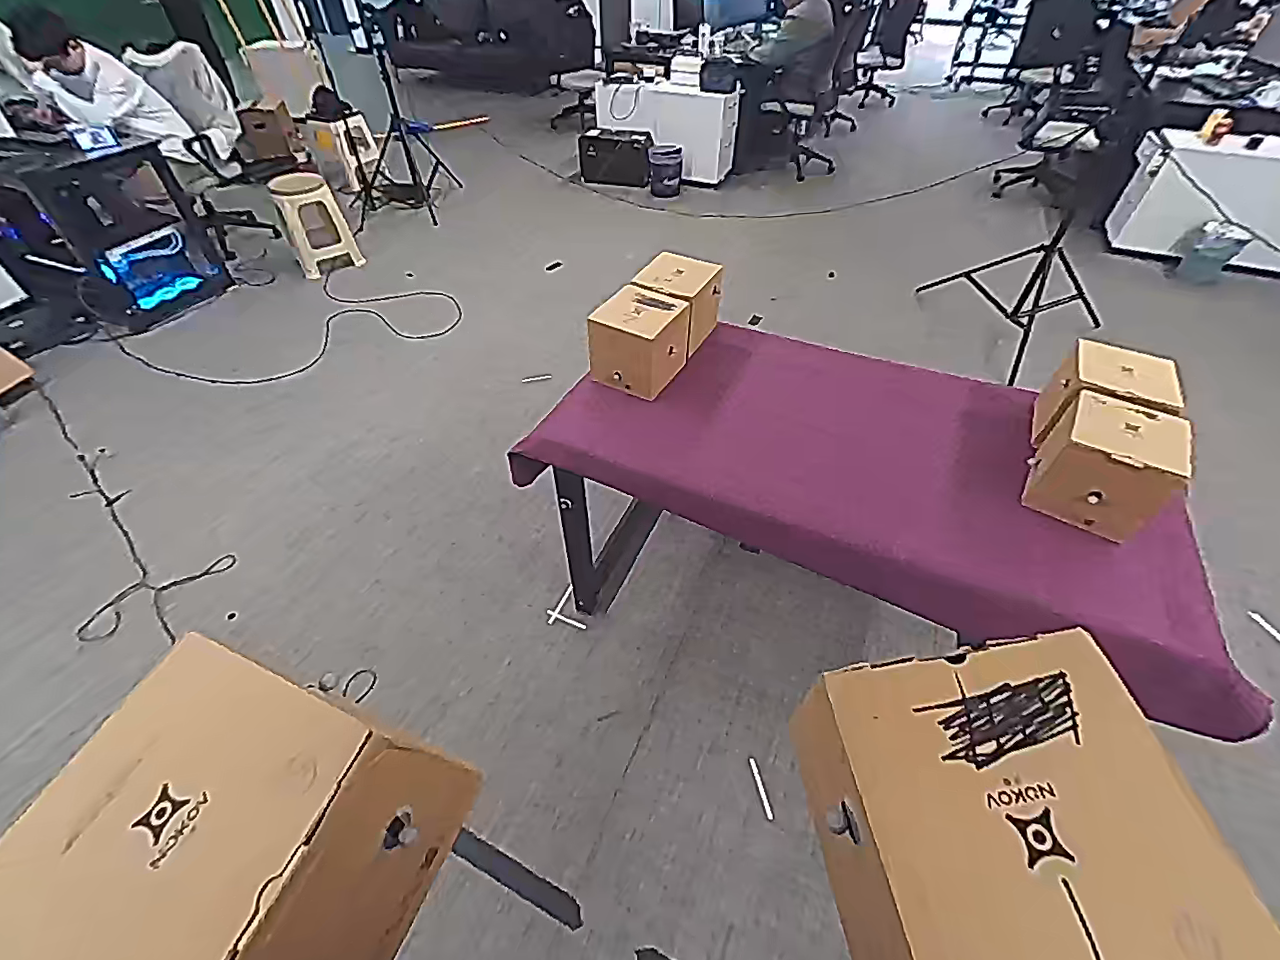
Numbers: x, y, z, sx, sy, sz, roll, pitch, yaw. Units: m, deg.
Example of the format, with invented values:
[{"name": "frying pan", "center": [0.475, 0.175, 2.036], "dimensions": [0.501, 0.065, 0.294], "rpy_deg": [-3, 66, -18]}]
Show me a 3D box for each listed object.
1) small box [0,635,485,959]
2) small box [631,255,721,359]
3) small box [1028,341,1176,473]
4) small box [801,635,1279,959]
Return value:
[{"name": "small box", "center": [-0.236, 0.234, 0.363], "dimensions": [0.179, 0.176, 0.168], "rpy_deg": [14, 57, 21]}, {"name": "small box", "center": [0.086, -0.435, 1.357], "dimensions": [0.168, 0.176, 0.179], "rpy_deg": [22, 51, 20]}, {"name": "small box", "center": [0.917, -0.147, 1.092], "dimensions": [0.168, 0.176, 0.179], "rpy_deg": [22, 50, 19]}, {"name": "small box", "center": [0.215, 0.222, 0.348], "dimensions": [0.168, 0.176, 0.179], "rpy_deg": [-10, 56, 0]}]
